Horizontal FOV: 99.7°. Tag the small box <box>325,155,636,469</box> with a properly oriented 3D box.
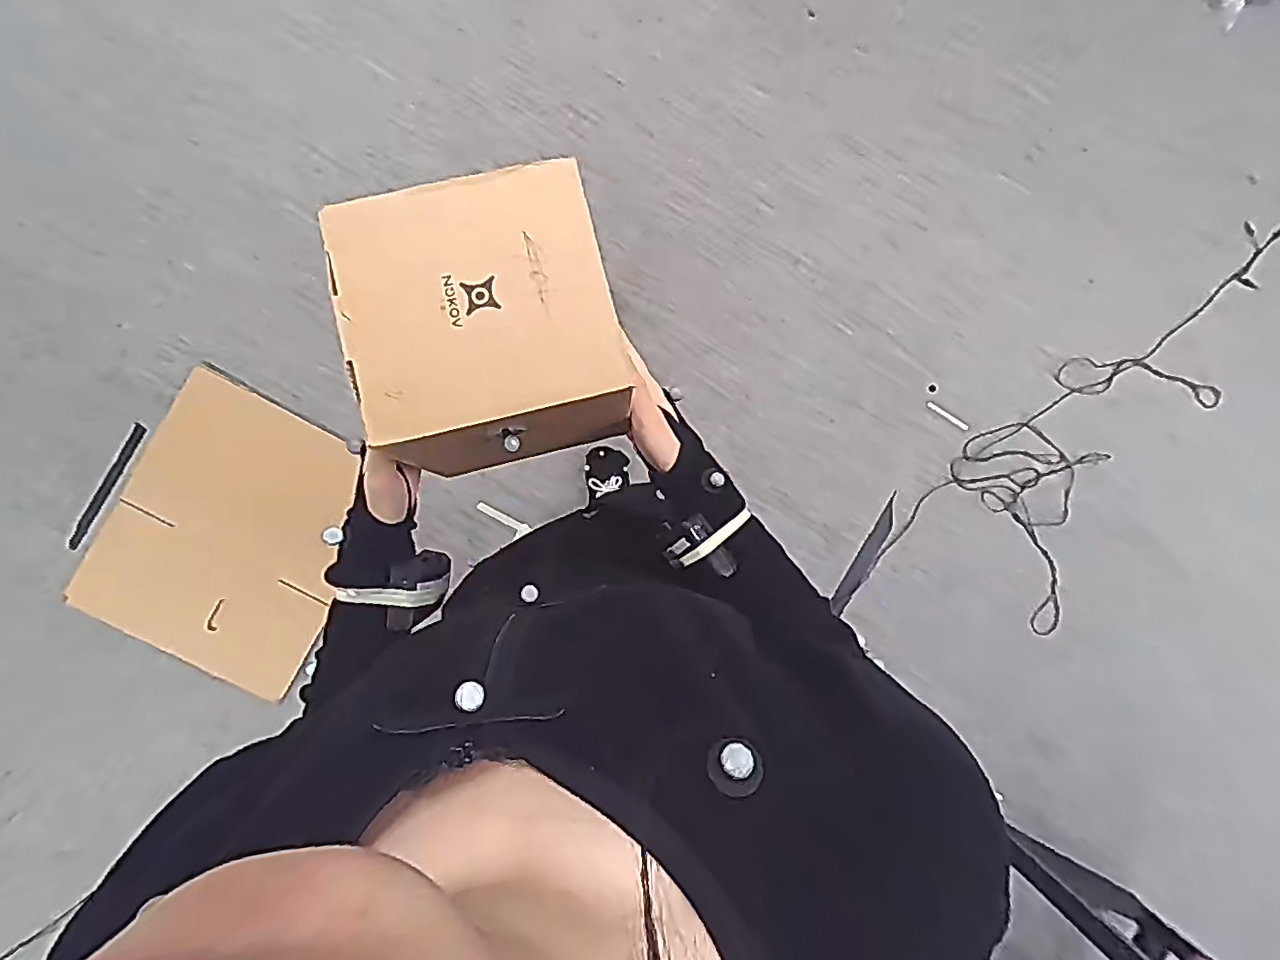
[{"bbox_3d":[-0.107,-0.112,0.431,0.179,0.176,0.168,-15,86,-5],"label":"small box"}]
